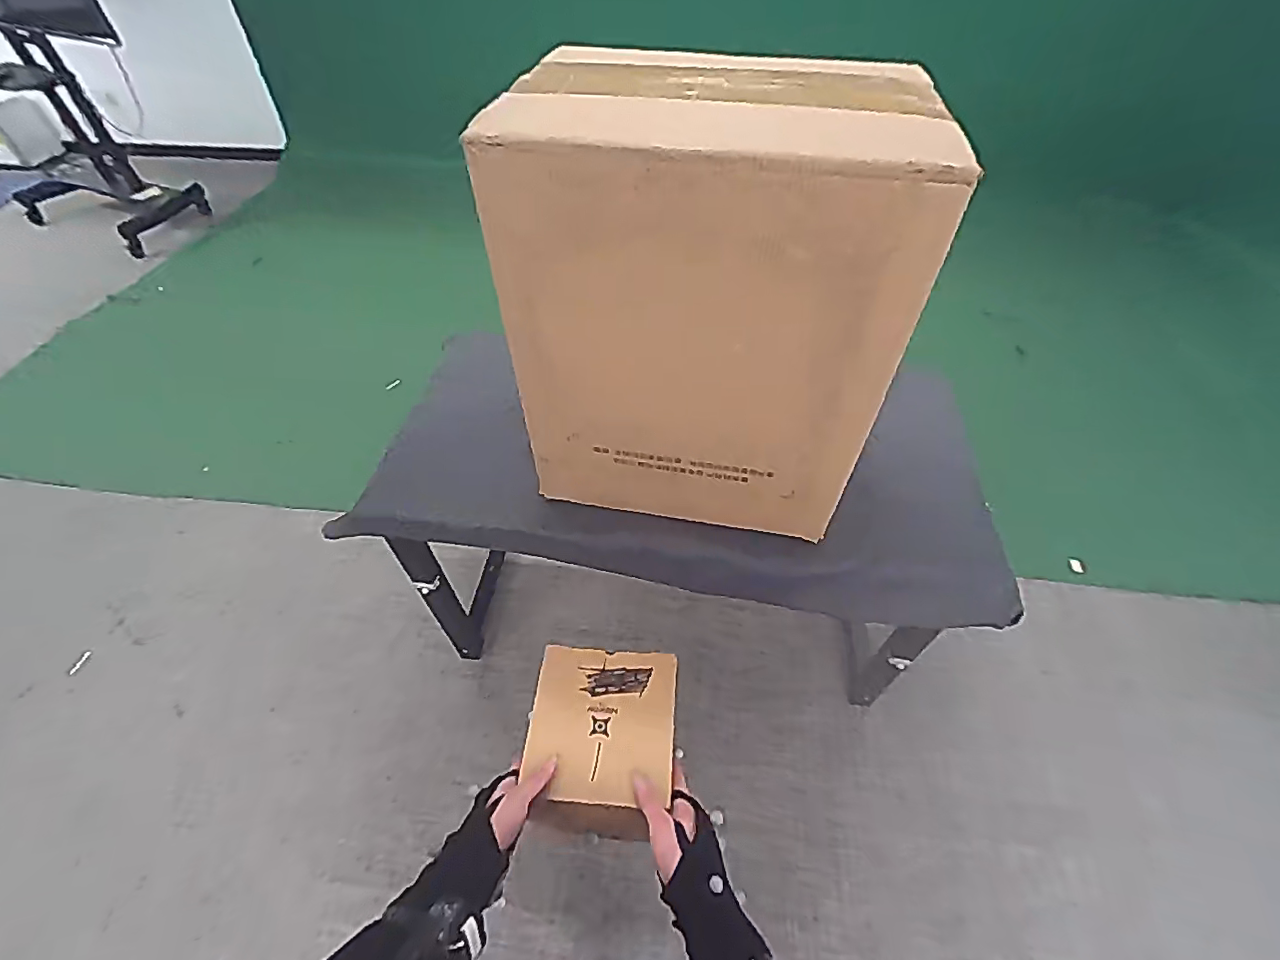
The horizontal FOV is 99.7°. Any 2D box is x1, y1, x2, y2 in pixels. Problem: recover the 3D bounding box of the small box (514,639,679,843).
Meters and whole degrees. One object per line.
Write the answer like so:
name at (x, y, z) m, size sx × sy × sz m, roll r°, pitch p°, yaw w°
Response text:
small box at (-0.044, 0.325, 0.676) m, size 0.168 × 0.176 × 0.179 m, roll 5°, pitch 47°, yaw 5°
